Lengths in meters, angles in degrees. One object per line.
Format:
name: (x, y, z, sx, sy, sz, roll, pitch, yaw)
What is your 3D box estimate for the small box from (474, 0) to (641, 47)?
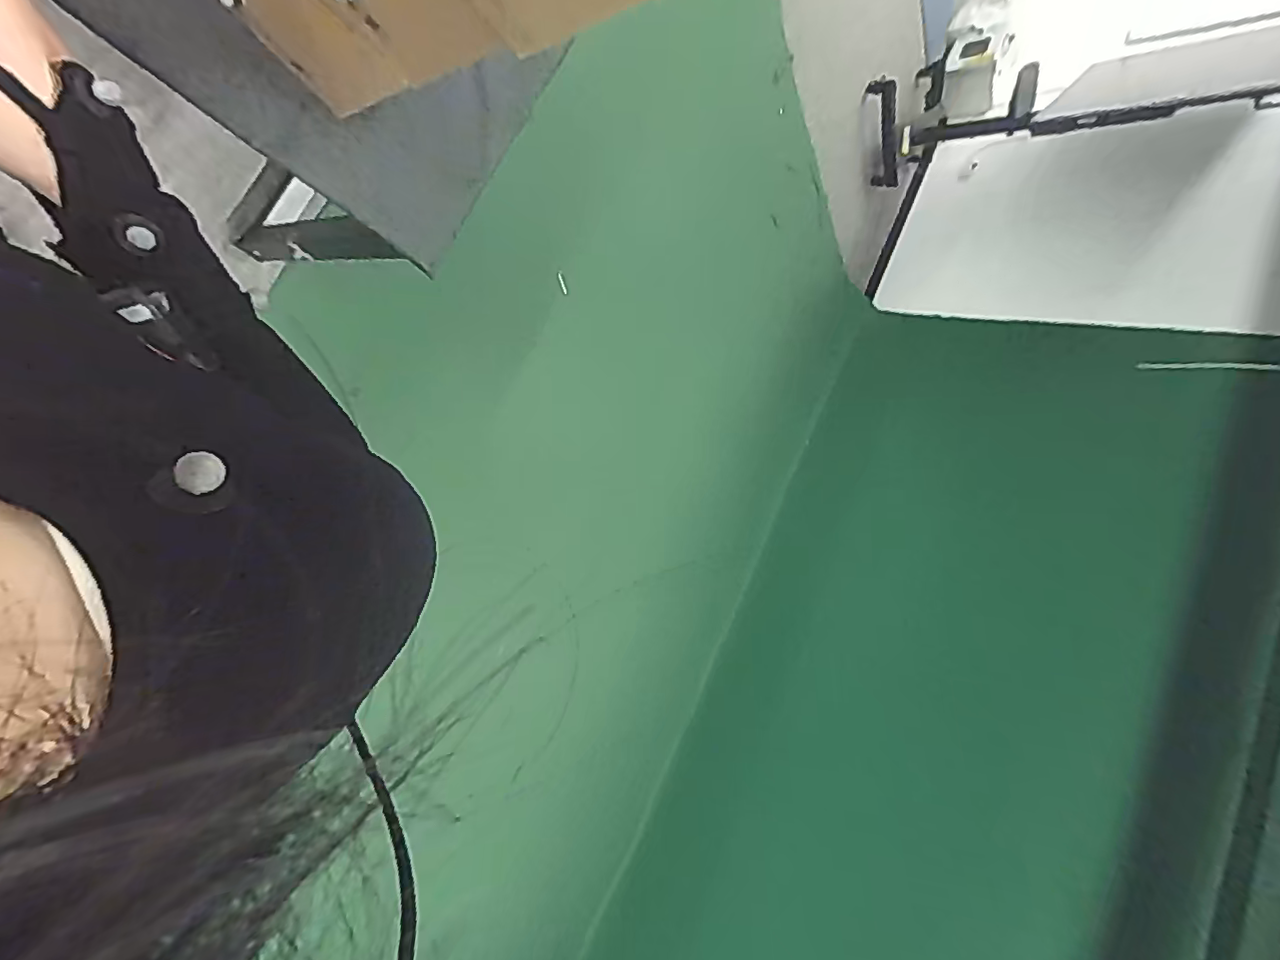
small box: (-0.057, -0.448, 0.357, 0.168, 0.176, 0.179, 27, 80, -51)

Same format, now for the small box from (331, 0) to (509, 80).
small box: (-0.182, -0.492, 0.456, 0.168, 0.176, 0.179, 33, 77, -51)

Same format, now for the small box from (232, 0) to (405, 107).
small box: (-0.306, -0.529, 0.555, 0.168, 0.176, 0.179, 39, 70, -50)
